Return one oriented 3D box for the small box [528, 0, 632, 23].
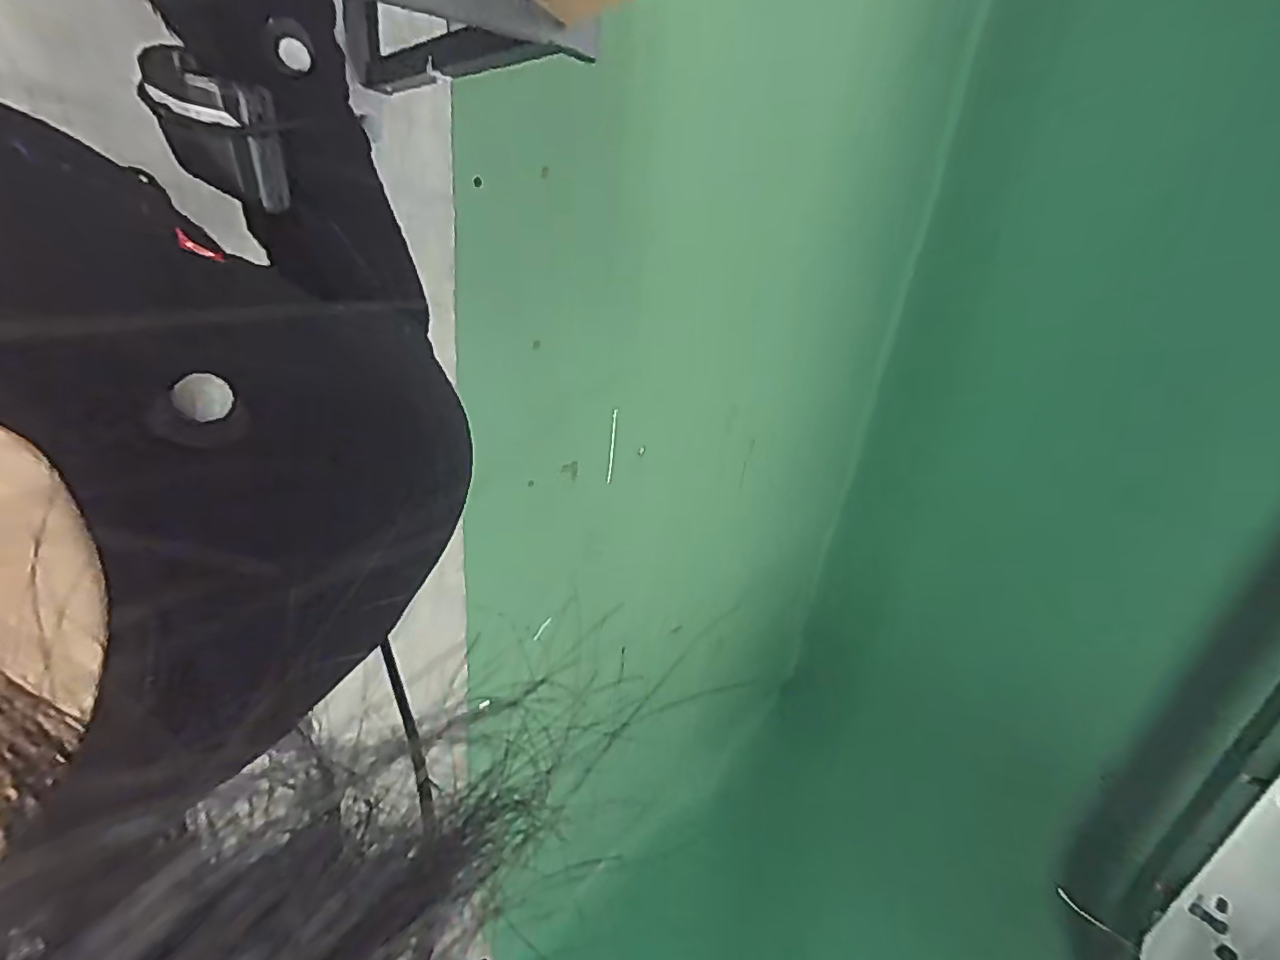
[{"bbox_3d":[-0.083,-0.672,0.607,0.168,0.176,0.179,-4,110,-45],"label":"small box"}]
